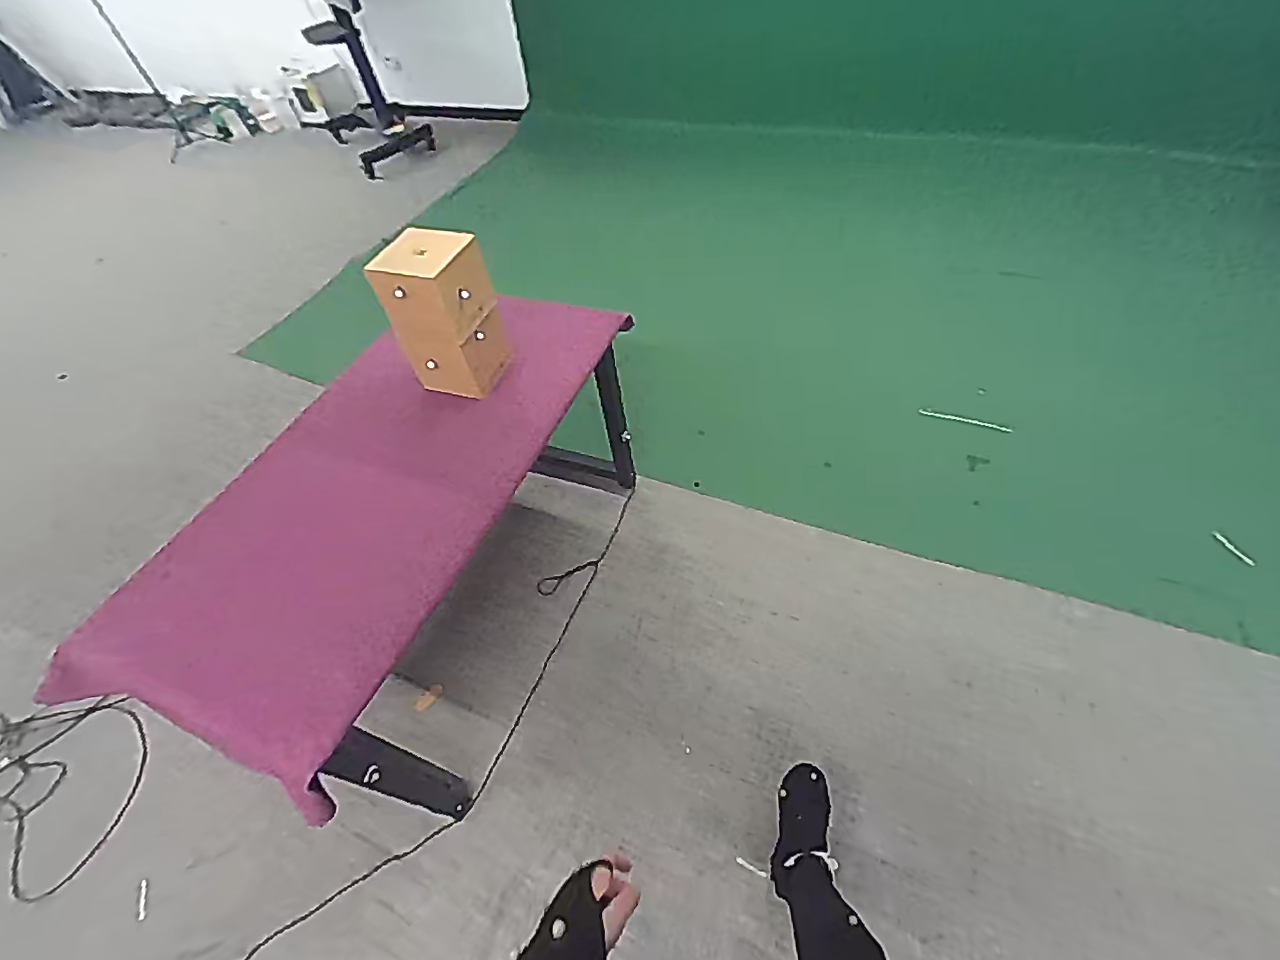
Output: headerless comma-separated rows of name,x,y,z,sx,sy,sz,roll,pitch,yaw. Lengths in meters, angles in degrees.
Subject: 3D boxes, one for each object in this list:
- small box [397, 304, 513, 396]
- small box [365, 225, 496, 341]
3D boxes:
small box,-0.435,-0.323,1.300,0.179,0.176,0.168,12,55,16
small box,-0.439,-0.421,1.170,0.179,0.176,0.168,13,56,17
